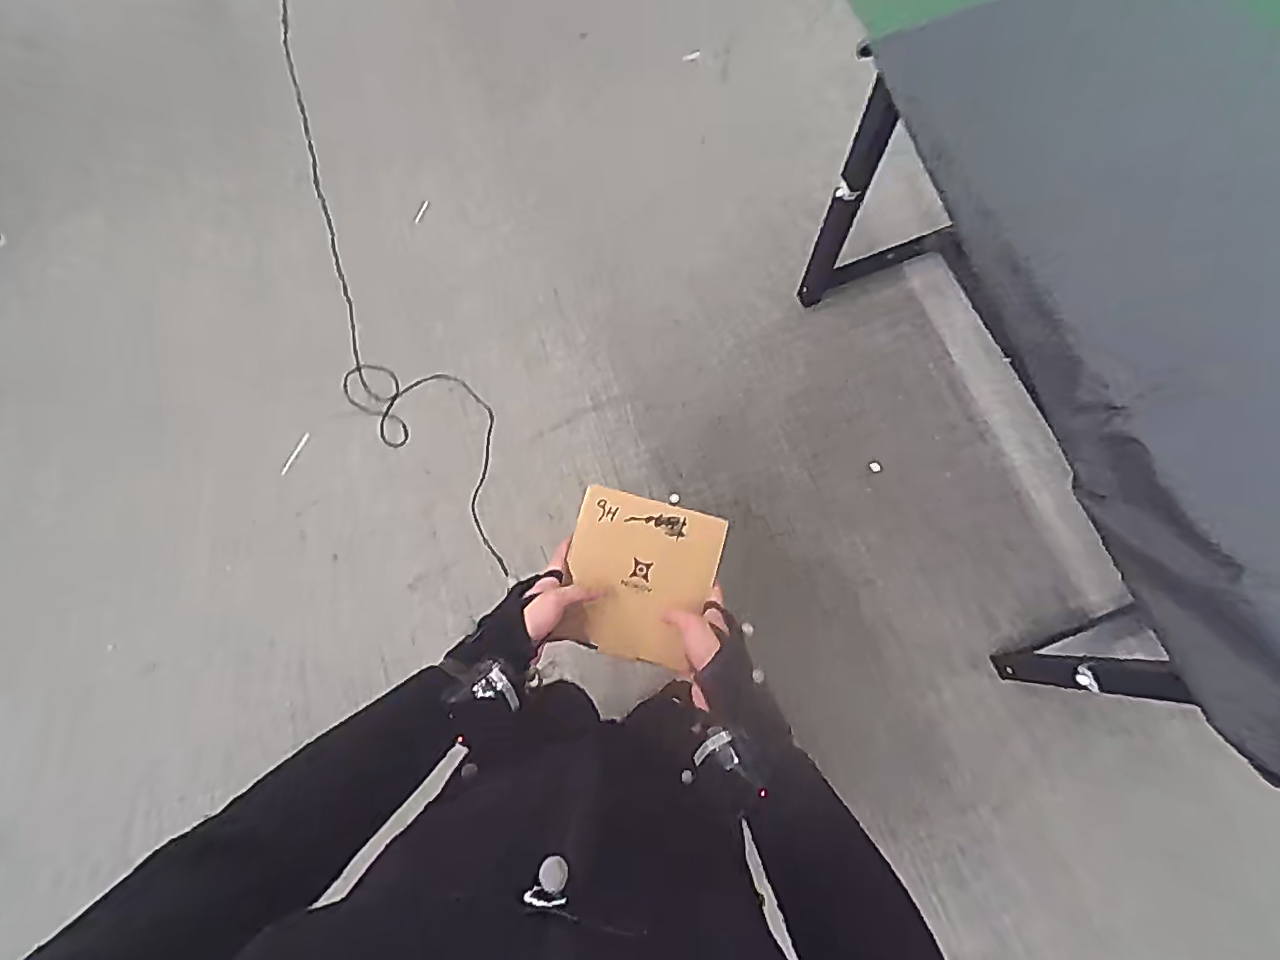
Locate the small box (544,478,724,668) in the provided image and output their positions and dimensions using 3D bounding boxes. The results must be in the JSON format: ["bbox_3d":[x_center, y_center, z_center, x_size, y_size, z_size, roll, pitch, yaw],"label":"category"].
[{"bbox_3d":[-0.006,0.104,0.668,0.168,0.176,0.179,14,87,-1],"label":"small box"}]
